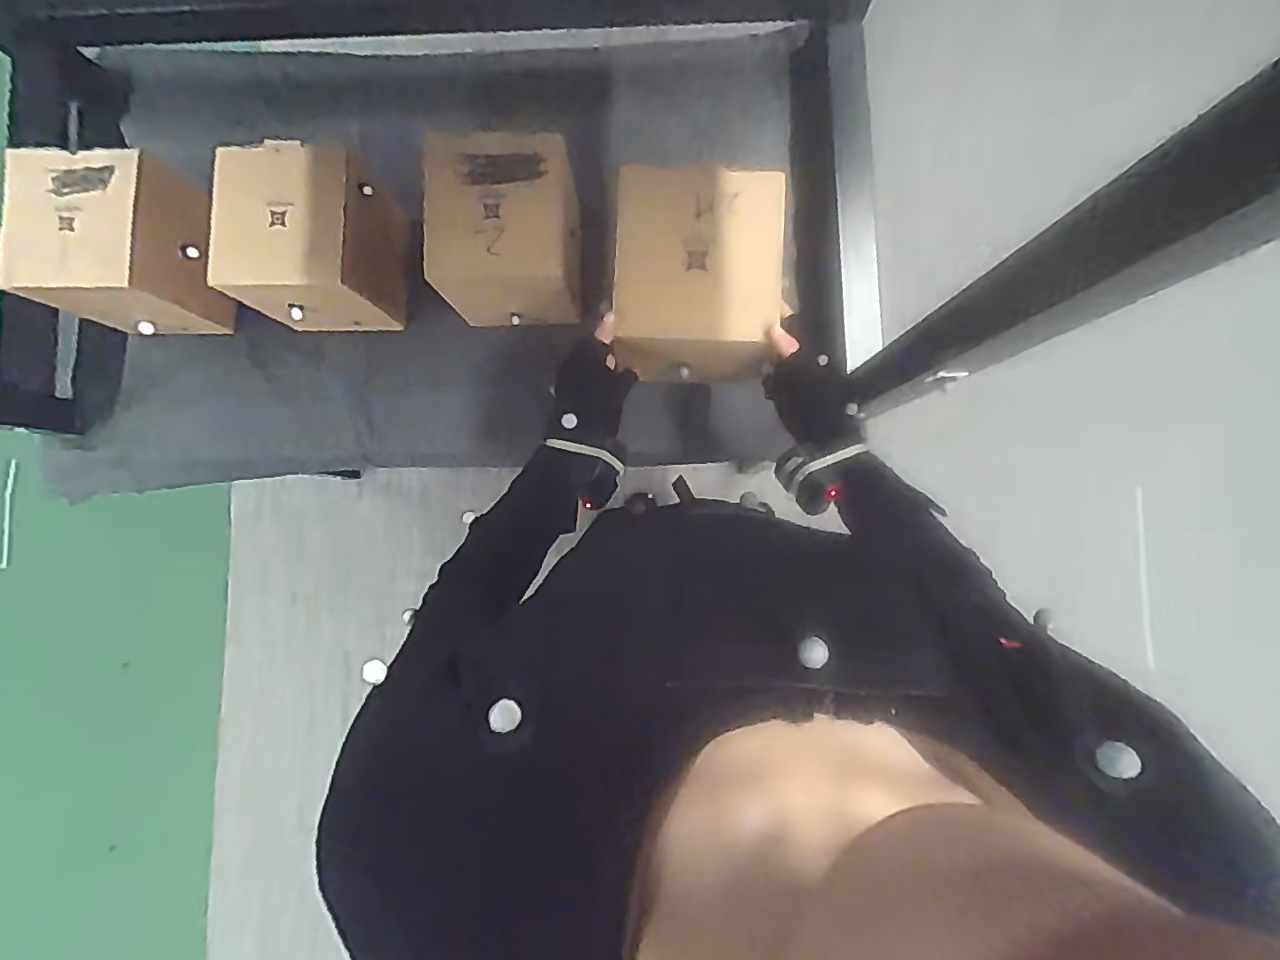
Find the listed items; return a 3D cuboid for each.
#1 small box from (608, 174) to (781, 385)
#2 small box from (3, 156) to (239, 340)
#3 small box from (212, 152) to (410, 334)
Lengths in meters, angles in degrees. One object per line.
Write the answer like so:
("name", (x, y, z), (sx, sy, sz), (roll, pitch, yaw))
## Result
("small box", (0.058, -0.213, 0.617), (0.168, 0.176, 0.179), (3, 85, 1))
("small box", (-0.682, -0.304, 0.736), (0.168, 0.176, 0.179), (0, 86, 2))
("small box", (-0.429, -0.306, 0.732), (0.168, 0.176, 0.179), (0, 85, 1))
